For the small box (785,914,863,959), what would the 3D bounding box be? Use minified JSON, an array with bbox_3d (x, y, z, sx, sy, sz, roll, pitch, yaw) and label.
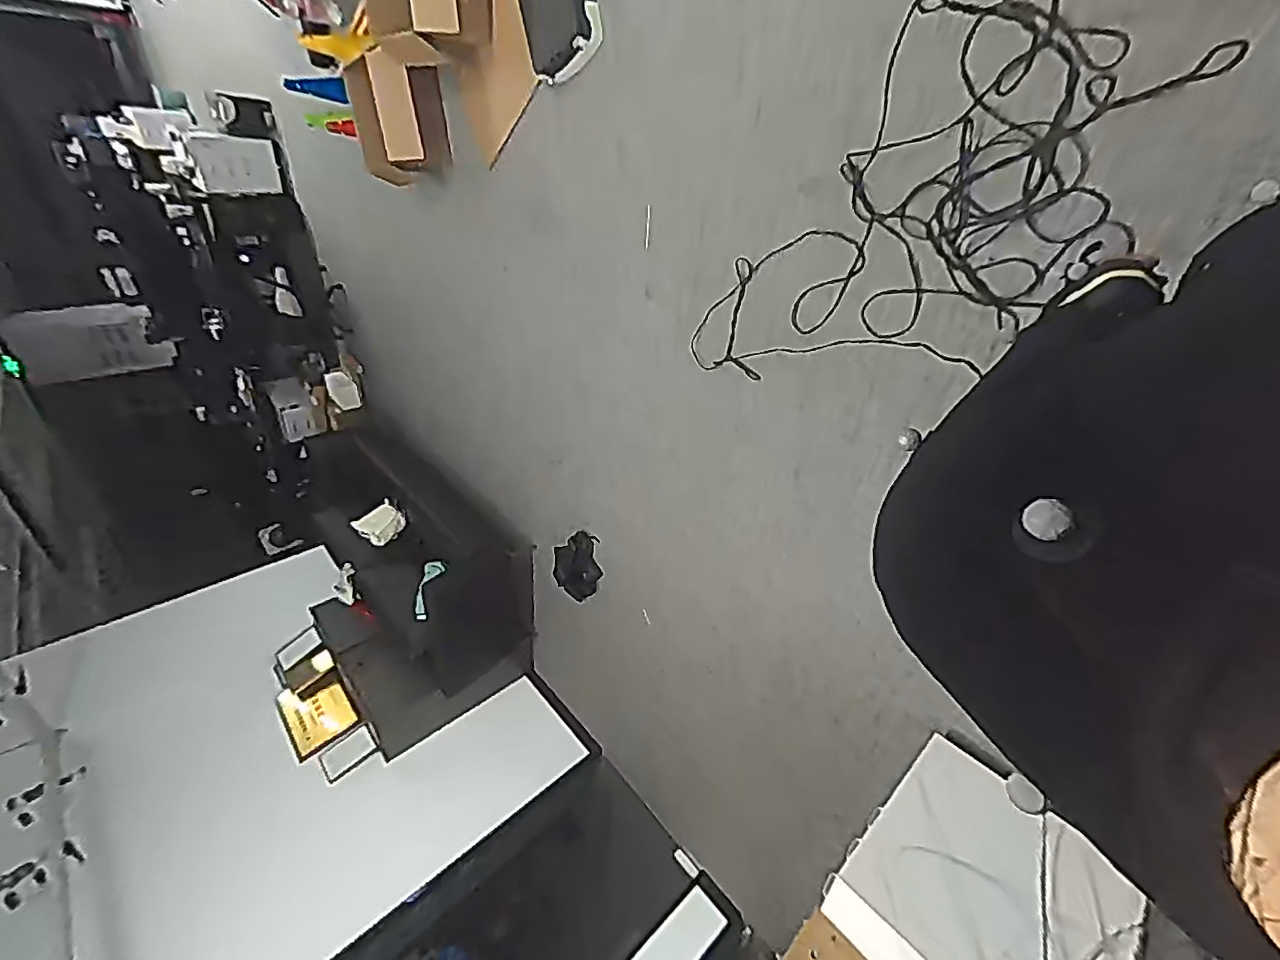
[{"bbox_3d":[0.434,1.192,1.284,0.168,0.176,0.179,35,134,36],"label":"small box"}]
